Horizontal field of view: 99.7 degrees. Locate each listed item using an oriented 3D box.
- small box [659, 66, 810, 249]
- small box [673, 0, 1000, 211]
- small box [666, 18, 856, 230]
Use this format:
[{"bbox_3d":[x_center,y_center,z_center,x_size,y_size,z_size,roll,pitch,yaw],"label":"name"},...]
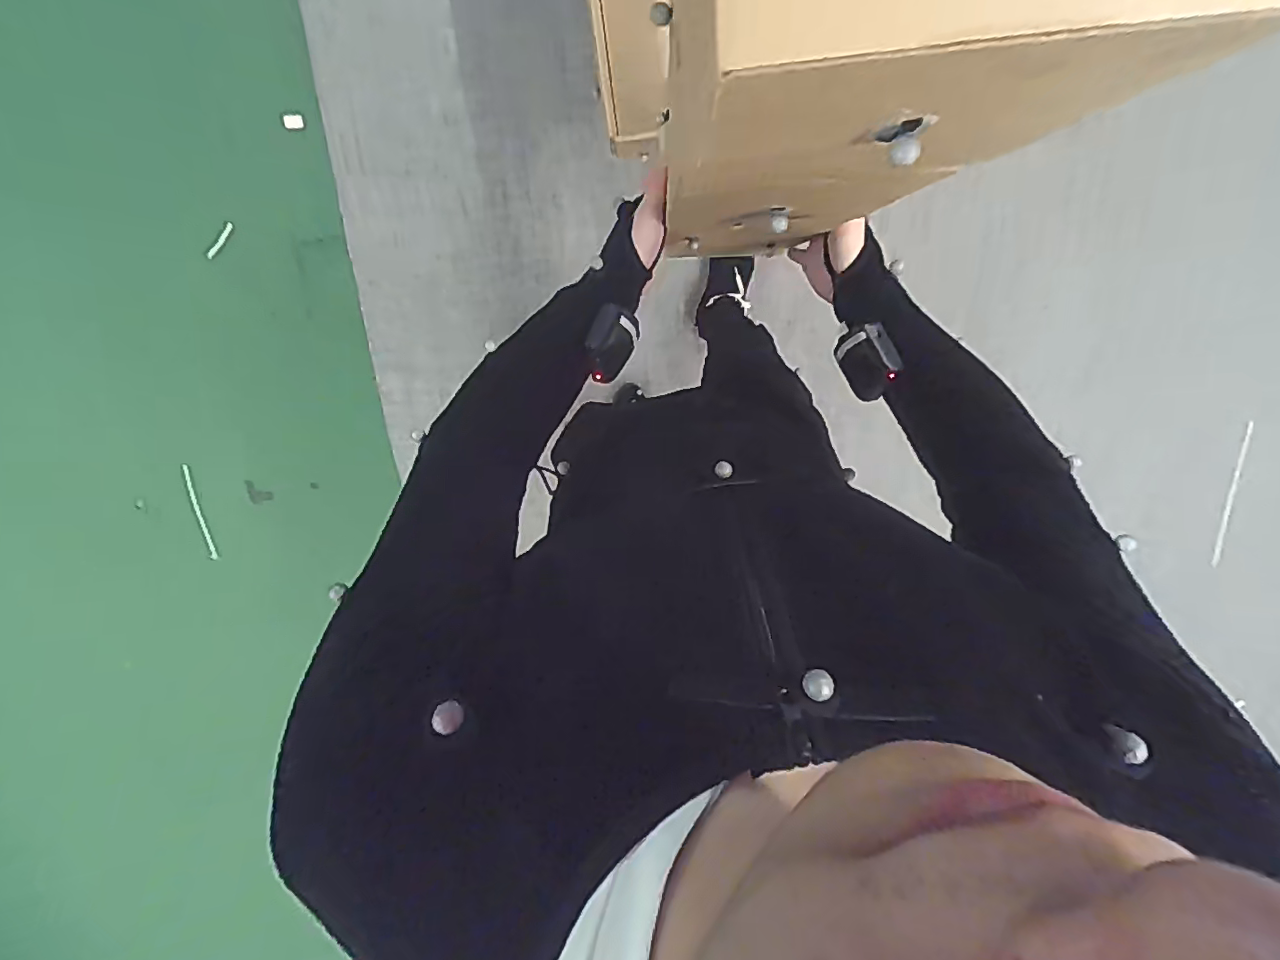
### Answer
[{"bbox_3d":[0.112,-0.386,0.671,0.179,0.176,0.168,-1,107,1],"label":"small box"},{"bbox_3d":[0.107,-0.290,0.356,0.168,0.176,0.179,-1,108,2],"label":"small box"},{"bbox_3d":[0.111,-0.342,0.513,0.168,0.176,0.179,1,107,0],"label":"small box"}]
